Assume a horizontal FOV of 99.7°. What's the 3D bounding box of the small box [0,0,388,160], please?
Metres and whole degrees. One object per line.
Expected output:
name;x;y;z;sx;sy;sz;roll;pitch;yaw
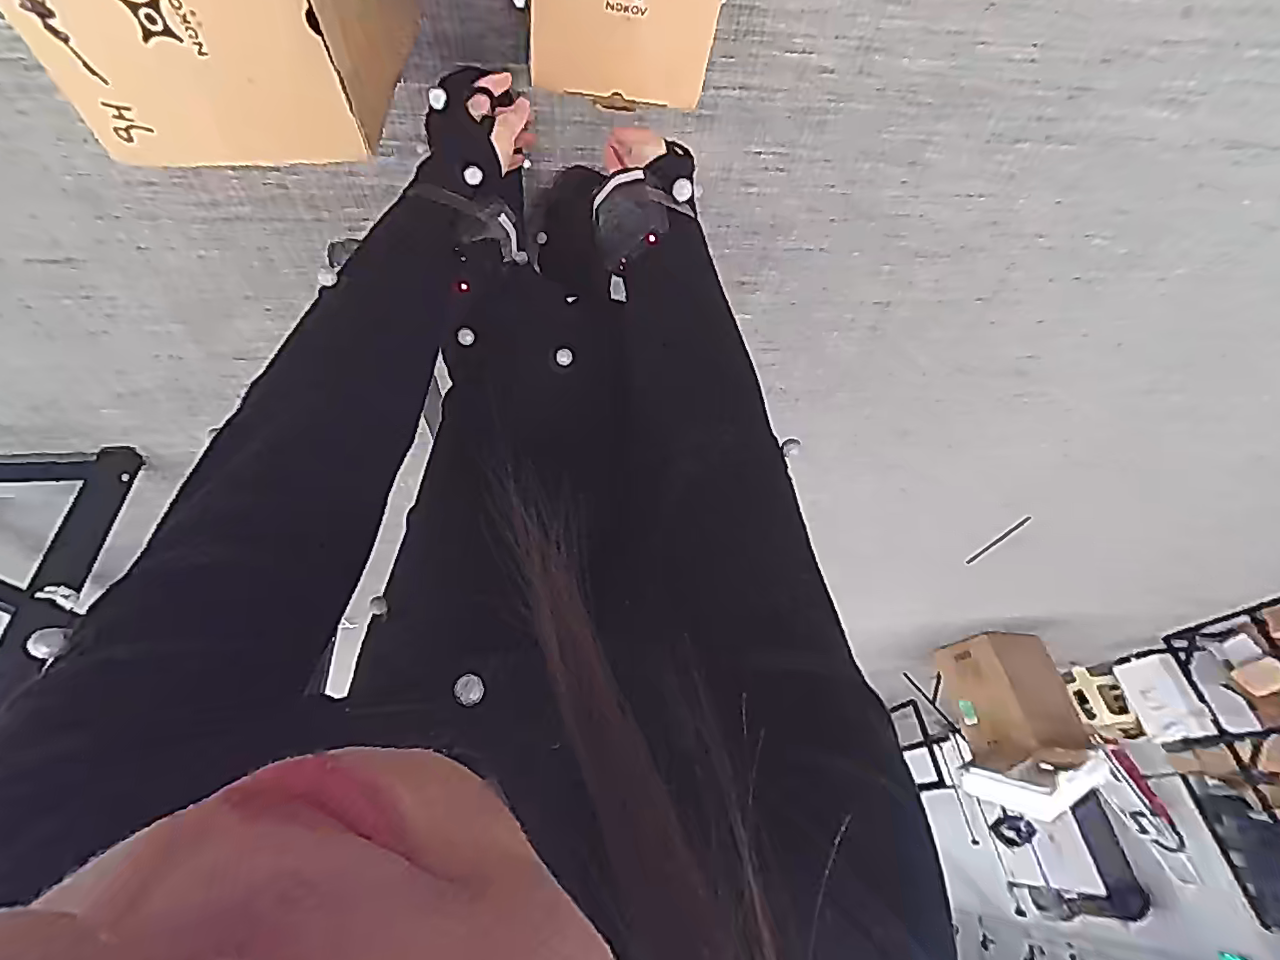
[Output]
small box;-0.281;-0.339;0.355;0.179;0.176;0.168;-5;148;-6

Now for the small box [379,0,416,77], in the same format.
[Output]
small box;-0.293;-0.476;0.445;0.168;0.176;0.179;-2;147;-9

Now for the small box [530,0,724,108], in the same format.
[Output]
small box;-0.014;-0.483;0.491;0.168;0.176;0.179;0;147;-12
